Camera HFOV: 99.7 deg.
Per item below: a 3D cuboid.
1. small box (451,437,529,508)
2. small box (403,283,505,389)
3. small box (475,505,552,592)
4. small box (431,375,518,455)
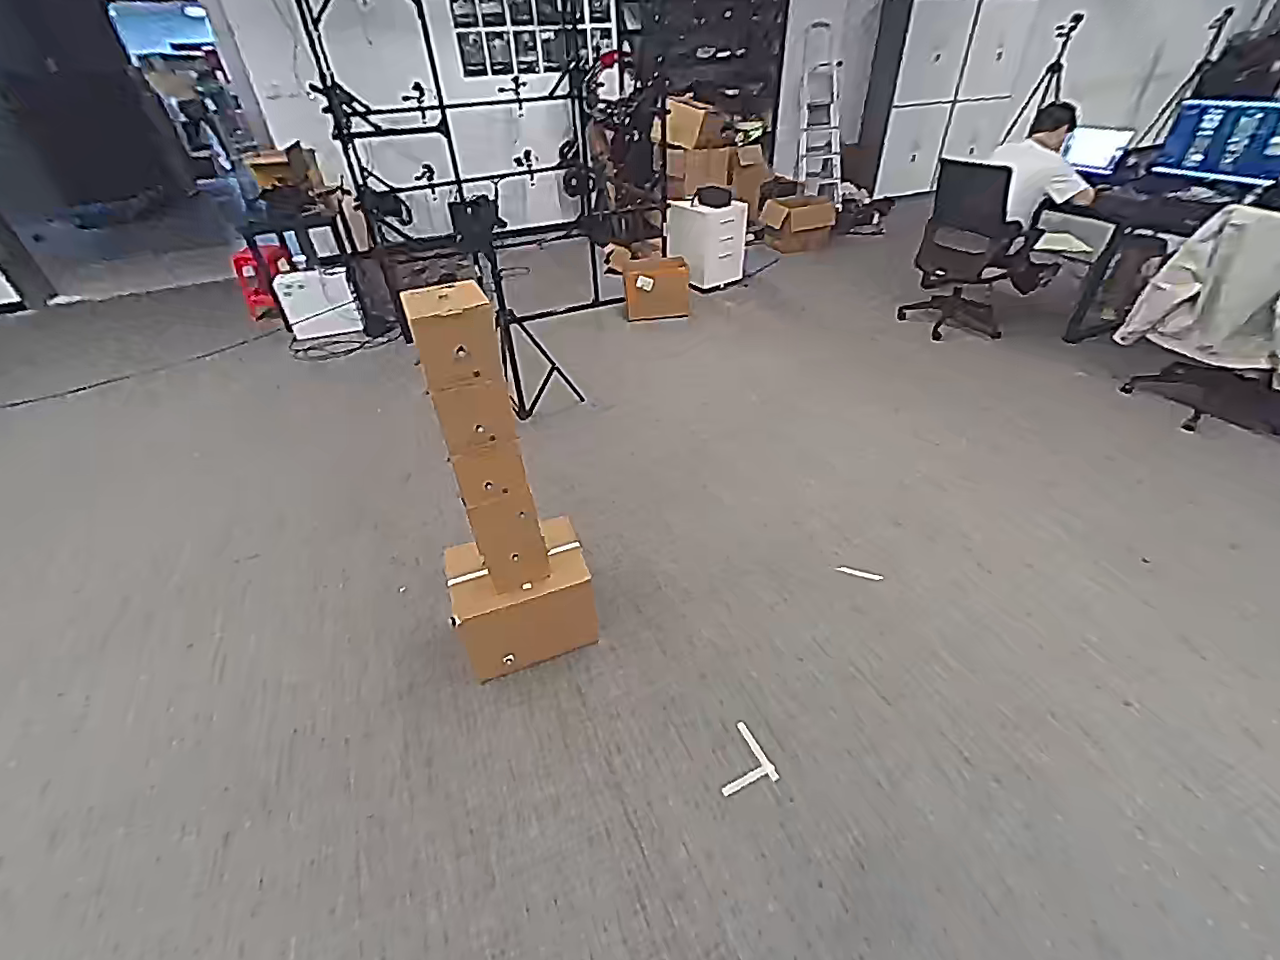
[{"bbox_3d":[-0.396,-0.055,1.403,0.168,0.176,0.179,-16,41,-17],"label":"small box"},{"bbox_3d":[-0.411,-0.316,1.205,0.168,0.176,0.179,-18,42,-18],"label":"small box"},{"bbox_3d":[-0.371,0.205,1.600,0.179,0.176,0.168,-16,41,-18],"label":"small box"},{"bbox_3d":[-0.404,-0.185,1.303,0.168,0.176,0.179,-18,42,-17],"label":"small box"}]
